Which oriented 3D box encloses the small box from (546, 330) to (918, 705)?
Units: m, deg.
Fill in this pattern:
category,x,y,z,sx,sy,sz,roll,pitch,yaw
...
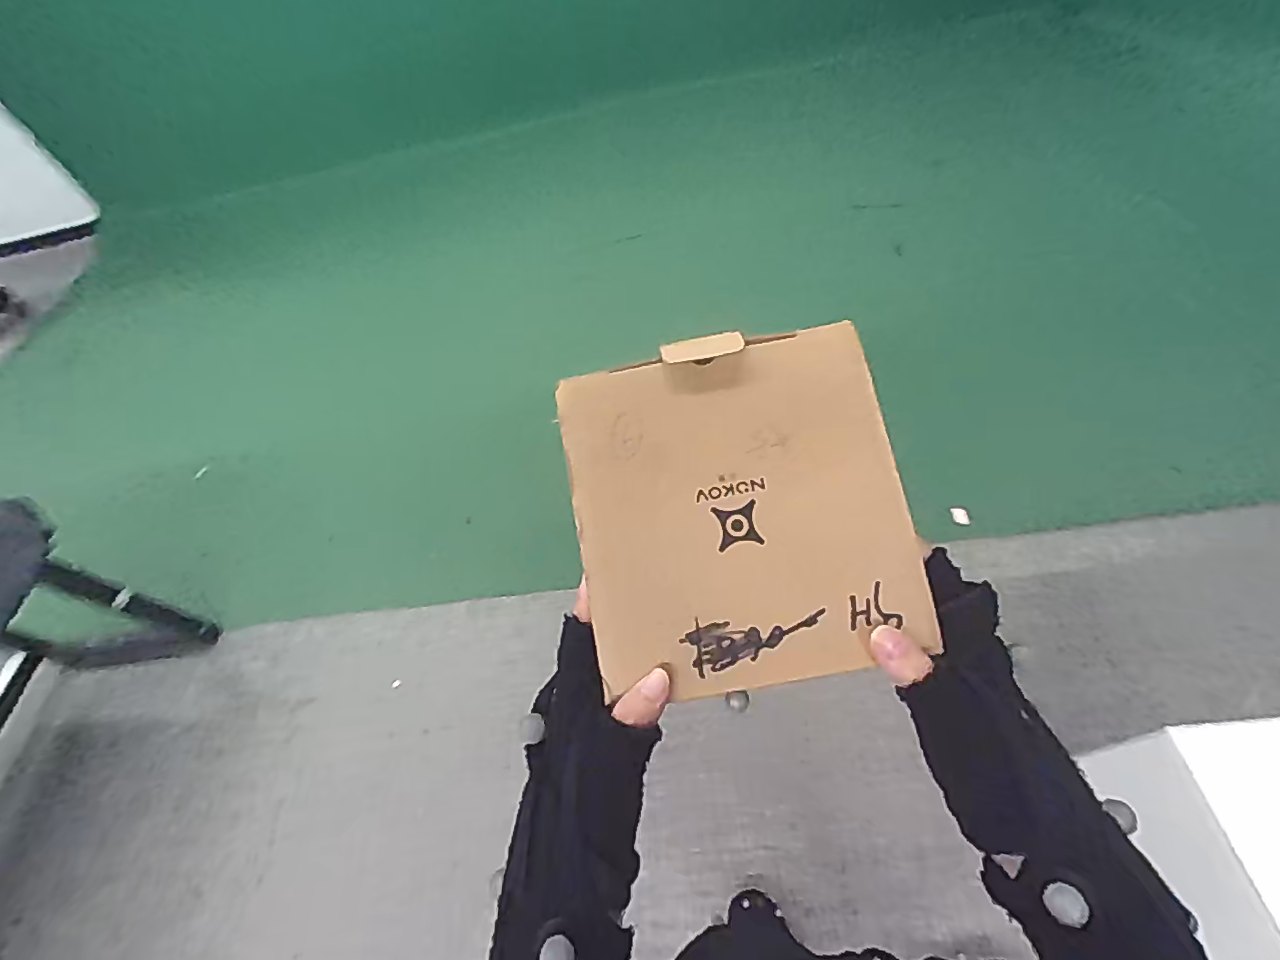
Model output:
category,x,y,z,sx,sy,sz,roll,pitch,yaw
small box,0.047,0.030,0.368,0.168,0.176,0.179,-14,79,1
